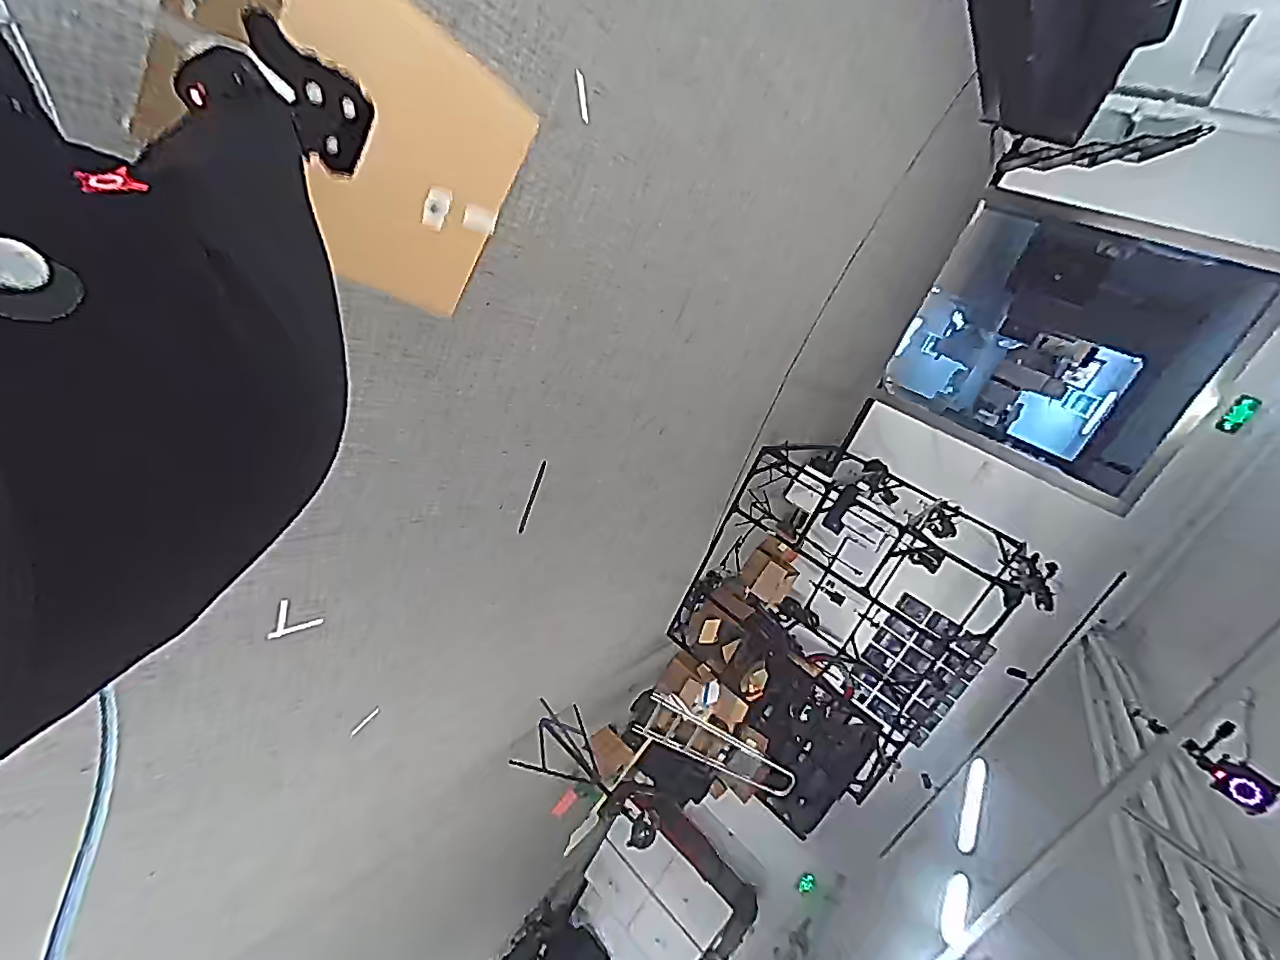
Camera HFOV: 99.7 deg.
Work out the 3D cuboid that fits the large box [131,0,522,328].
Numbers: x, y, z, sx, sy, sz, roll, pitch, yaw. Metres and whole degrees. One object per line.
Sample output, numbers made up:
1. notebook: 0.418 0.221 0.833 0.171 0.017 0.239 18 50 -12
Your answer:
1. large box: -0.449 -0.474 0.779 0.320 0.408 0.320 15 110 -57
